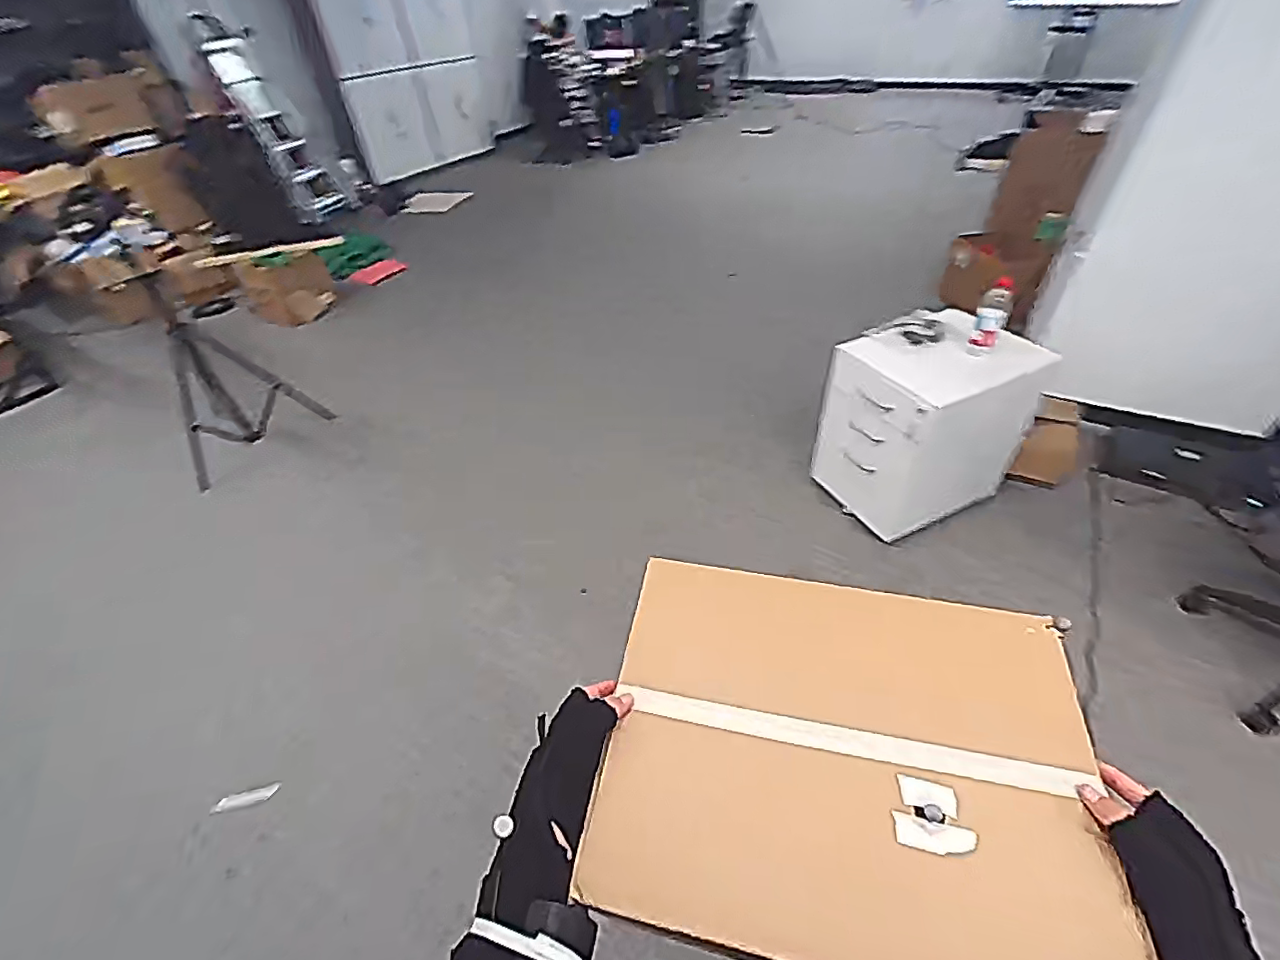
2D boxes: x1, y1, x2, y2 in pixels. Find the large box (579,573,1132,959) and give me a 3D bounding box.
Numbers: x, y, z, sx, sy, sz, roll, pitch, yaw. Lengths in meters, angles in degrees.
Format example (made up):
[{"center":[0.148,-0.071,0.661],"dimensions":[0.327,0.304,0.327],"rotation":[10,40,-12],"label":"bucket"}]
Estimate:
[{"center":[0.178,0.336,0.592],"dimensions":[0.408,0.320,0.320],"rotation":[7,50,10],"label":"large box"}]
